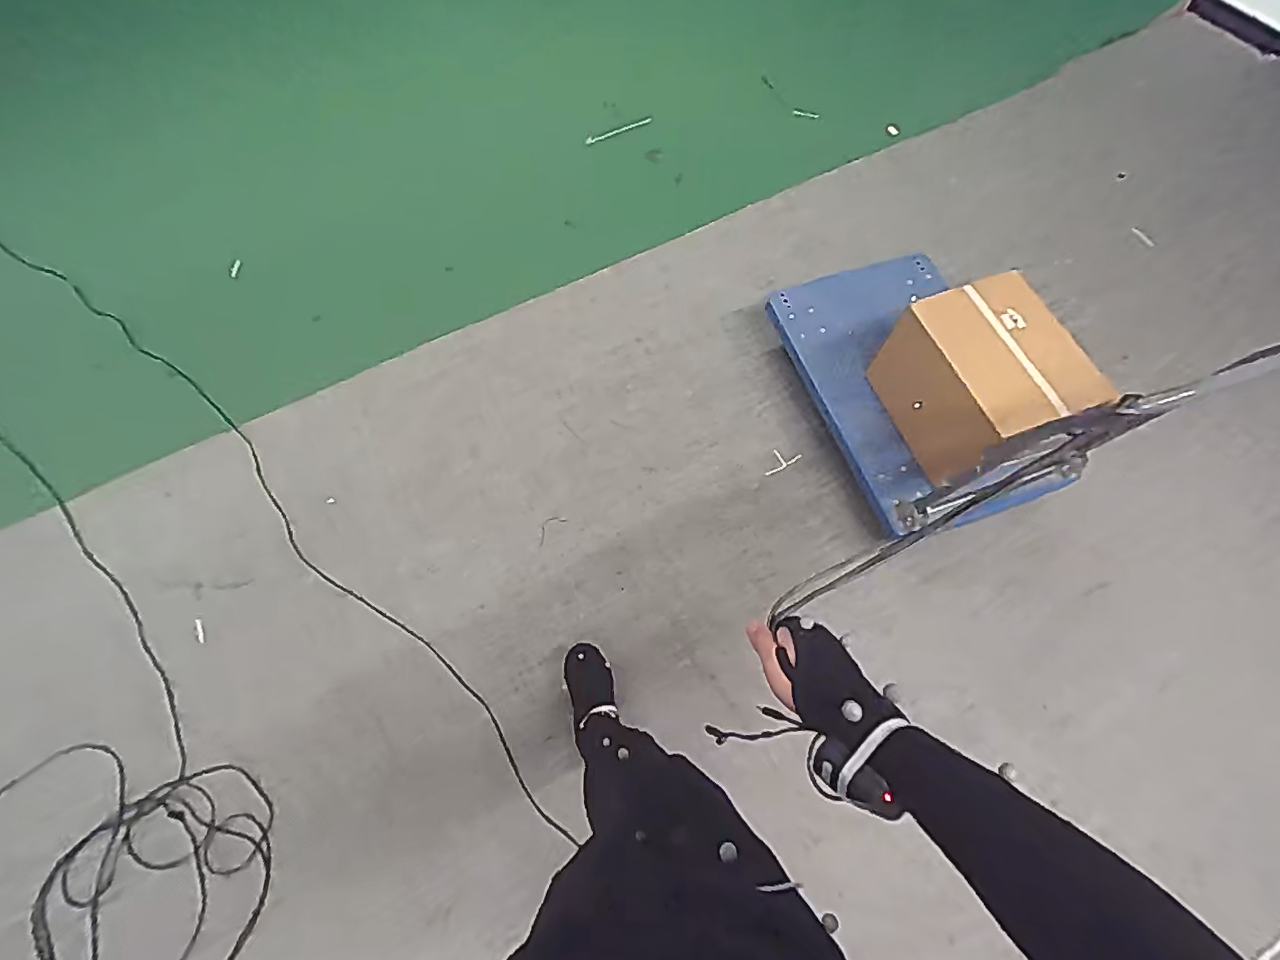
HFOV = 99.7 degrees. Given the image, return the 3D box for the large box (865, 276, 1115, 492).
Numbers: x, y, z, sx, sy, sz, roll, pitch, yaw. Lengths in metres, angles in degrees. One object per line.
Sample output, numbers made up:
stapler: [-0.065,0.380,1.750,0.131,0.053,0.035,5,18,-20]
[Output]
large box: [0.868,-0.240,1.410,0.320,0.320,0.408,-18,66,-8]
